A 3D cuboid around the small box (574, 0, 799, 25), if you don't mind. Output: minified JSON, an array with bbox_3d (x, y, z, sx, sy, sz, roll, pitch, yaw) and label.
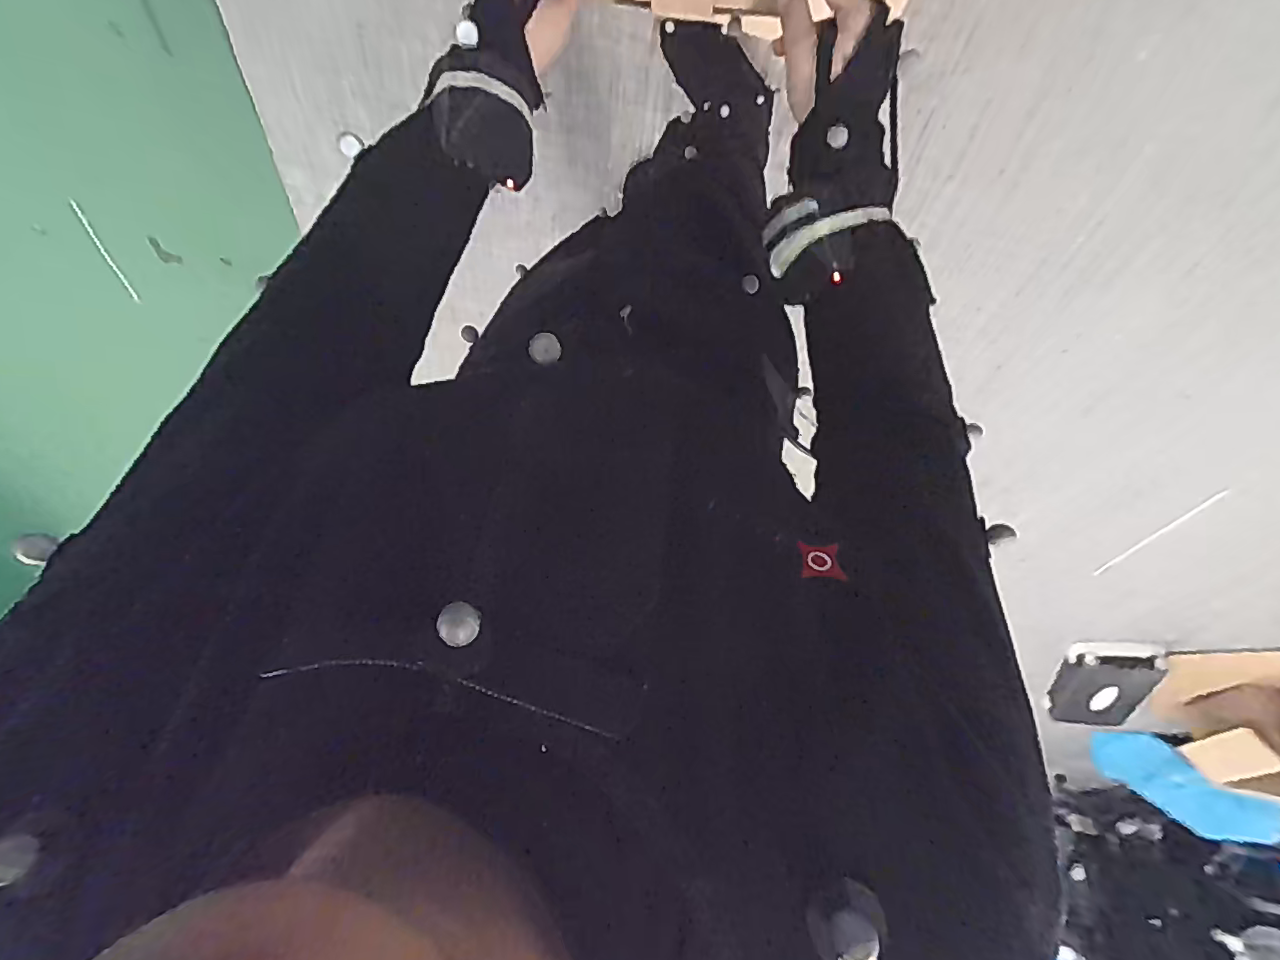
[{"bbox_3d":[0.050,-0.449,0.389,0.168,0.176,0.179,9,131,5],"label":"small box"}]

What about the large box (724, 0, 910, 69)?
[{"bbox_3d":[0.168,-0.776,0.653,0.408,0.320,0.320,16,142,-5],"label":"large box"}]
